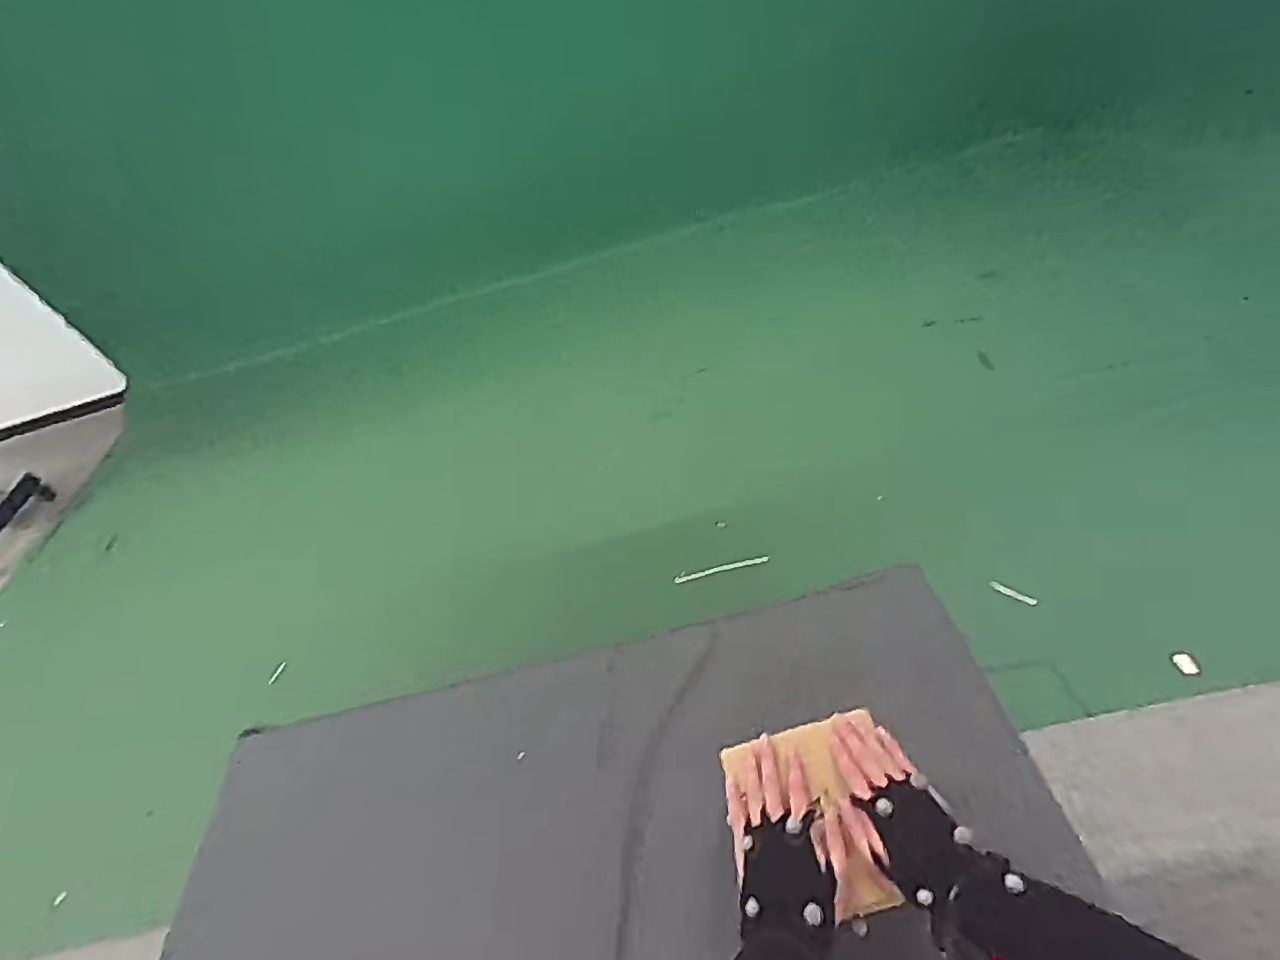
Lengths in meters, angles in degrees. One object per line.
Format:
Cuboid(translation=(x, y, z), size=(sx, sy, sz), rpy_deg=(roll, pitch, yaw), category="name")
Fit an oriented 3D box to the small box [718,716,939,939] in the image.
Cuboid(translation=(0.205, 0.404, 0.630), size=(0.179, 0.176, 0.168), rpy_deg=(-19, 48, 0), category="small box")
